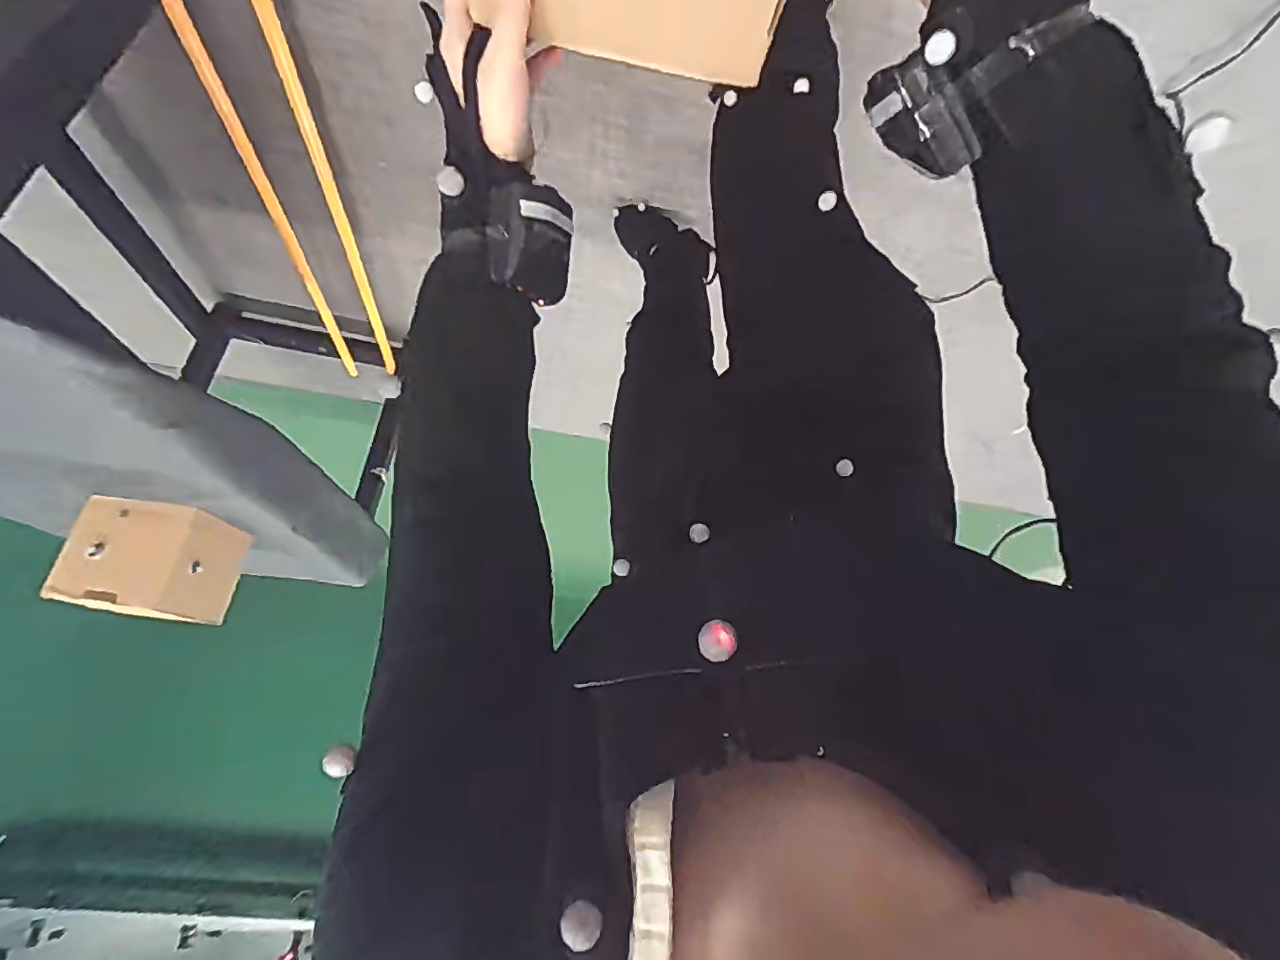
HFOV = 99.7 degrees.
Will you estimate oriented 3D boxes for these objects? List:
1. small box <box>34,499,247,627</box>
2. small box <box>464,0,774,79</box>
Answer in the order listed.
[{"bbox_3d":[-0.807,0.141,0.899,0.168,0.176,0.179,9,158,-5],"label":"small box"},{"bbox_3d":[0.002,-0.358,0.271,0.179,0.176,0.168,10,164,-4],"label":"small box"}]
